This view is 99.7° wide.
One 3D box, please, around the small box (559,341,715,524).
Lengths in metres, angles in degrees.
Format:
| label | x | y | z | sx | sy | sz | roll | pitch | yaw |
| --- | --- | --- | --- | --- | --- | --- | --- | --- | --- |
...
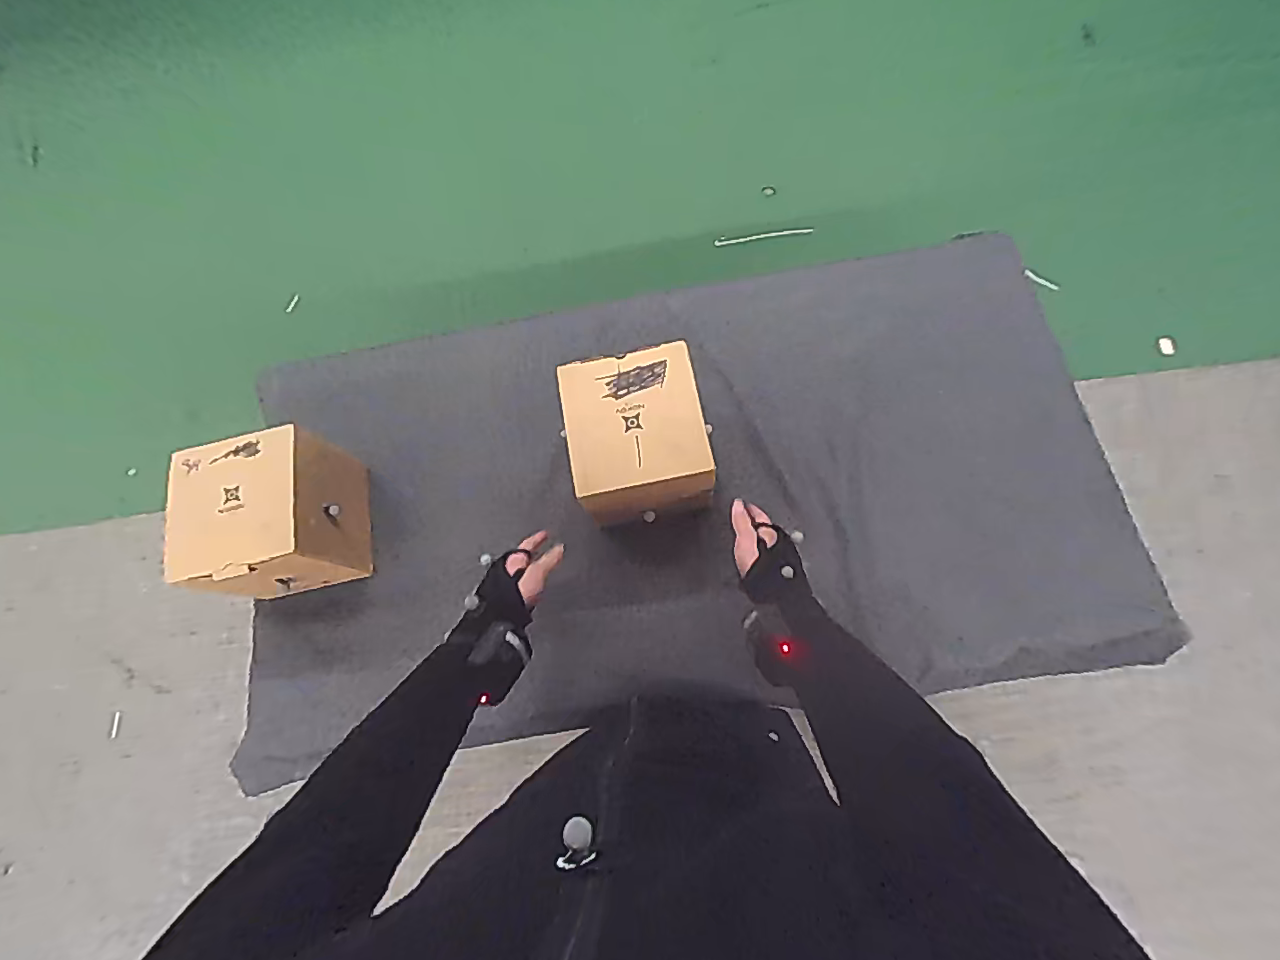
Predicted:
| label | x | y | z | sx | sy | sz | roll | pitch | yaw |
| --- | --- | --- | --- | --- | --- | --- | --- | --- | --- |
| small box | -0.001 | -0.054 | 0.719 | 0.168 | 0.176 | 0.179 | -12 | 73 | 3 |

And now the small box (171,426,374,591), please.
| label | x | y | z | sx | sy | sz | roll | pitch | yaw |
| --- | --- | --- | --- | --- | --- | --- | --- | --- | --- |
| small box | -0.488 | 0.050 | 0.741 | 0.168 | 0.176 | 0.179 | -14 | 72 | 1 |
